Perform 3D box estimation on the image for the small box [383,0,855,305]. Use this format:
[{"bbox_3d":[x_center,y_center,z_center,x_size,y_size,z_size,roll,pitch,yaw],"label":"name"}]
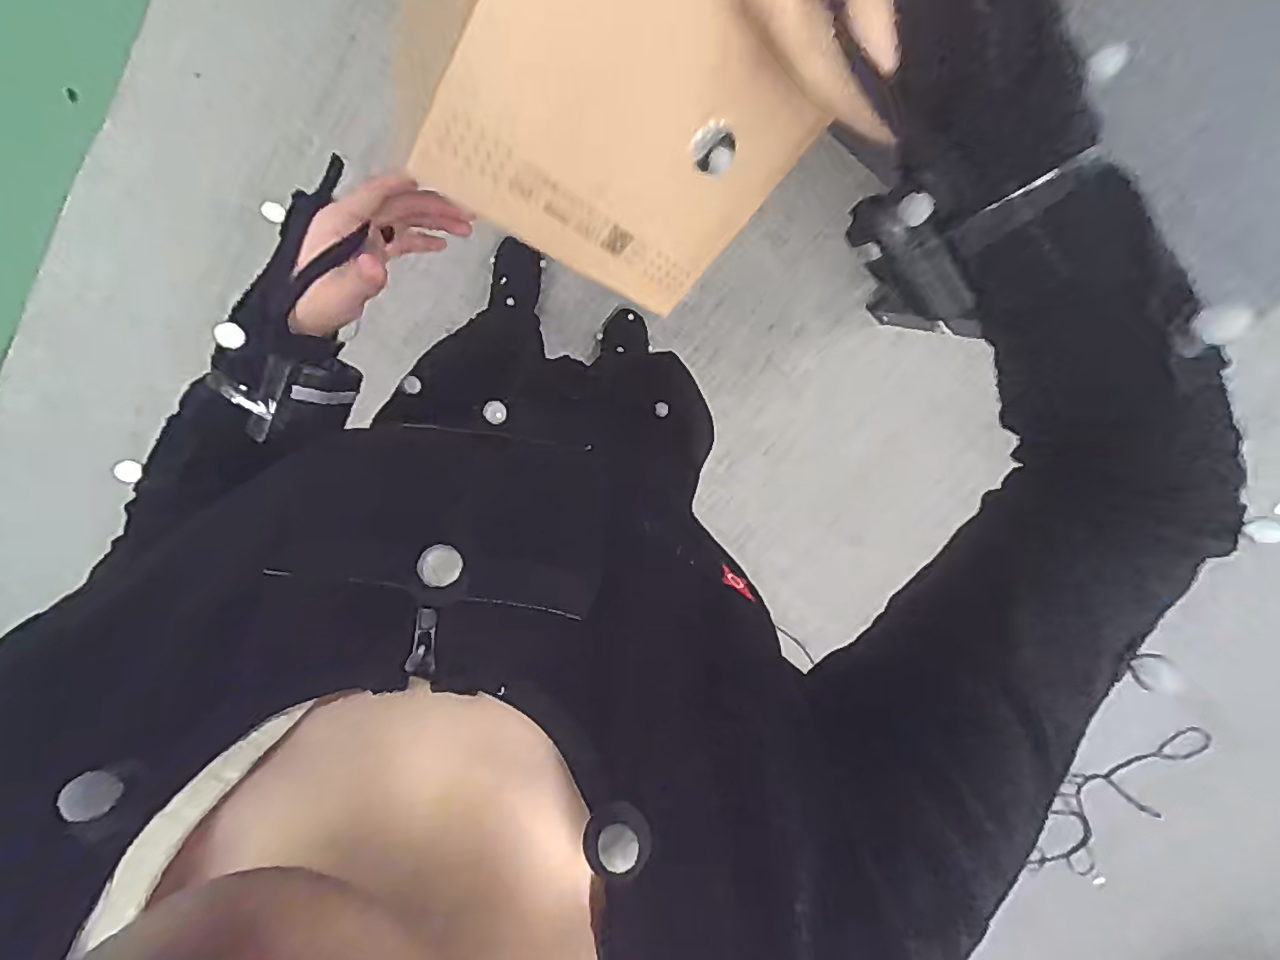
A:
[{"bbox_3d":[-0.027,-0.232,0.302,0.168,0.179,0.176,15,130,-42],"label":"small box"}]
